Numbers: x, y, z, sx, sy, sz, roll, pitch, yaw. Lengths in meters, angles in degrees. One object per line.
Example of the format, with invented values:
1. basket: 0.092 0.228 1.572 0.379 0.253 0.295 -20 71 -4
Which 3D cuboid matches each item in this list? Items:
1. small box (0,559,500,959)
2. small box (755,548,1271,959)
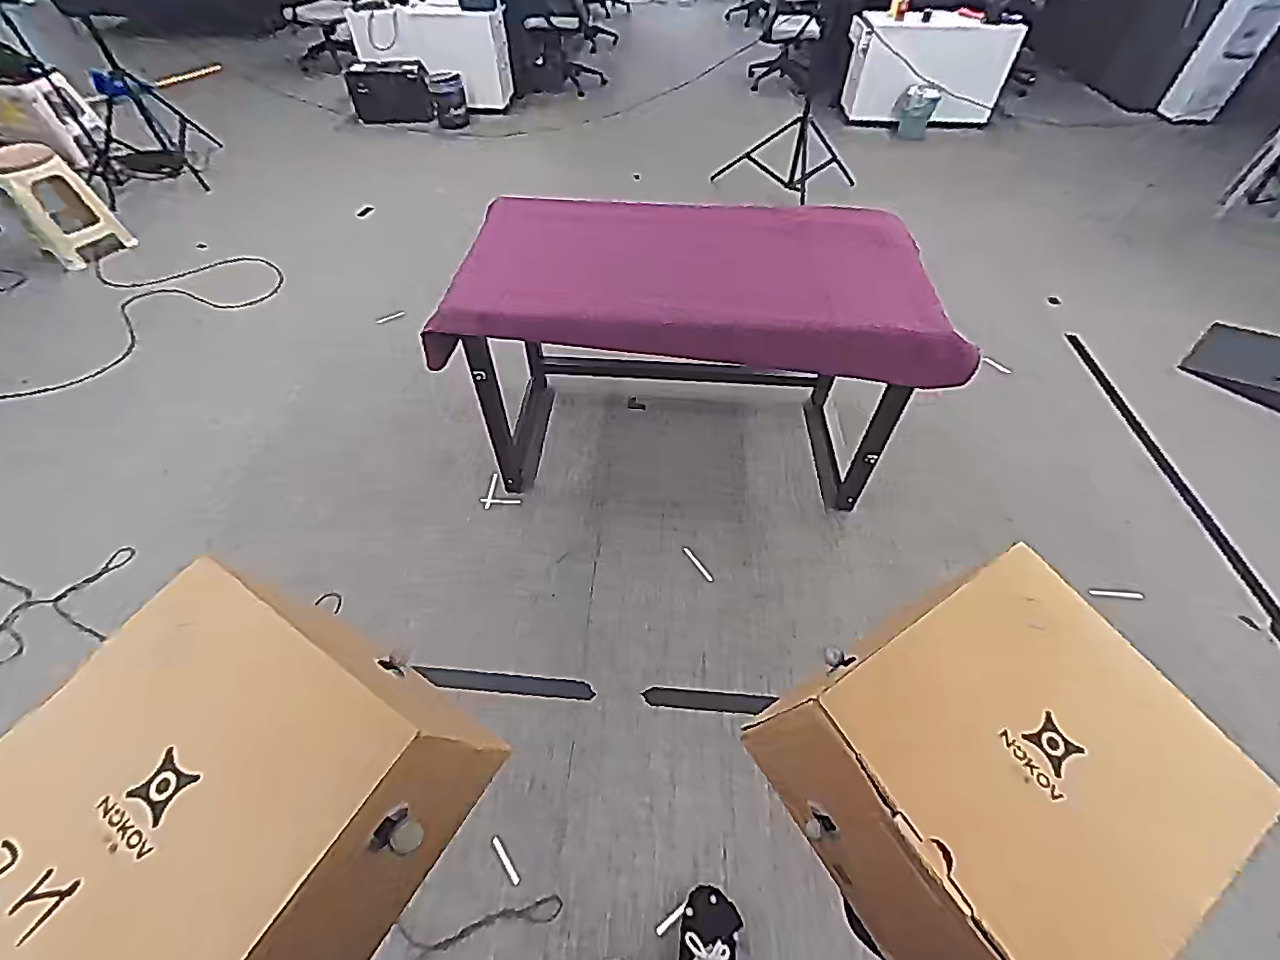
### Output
1. small box: -0.202 0.181 0.310 0.168 0.176 0.179 28 67 18
2. small box: 0.202 0.177 0.347 0.179 0.176 0.168 -28 66 -19
